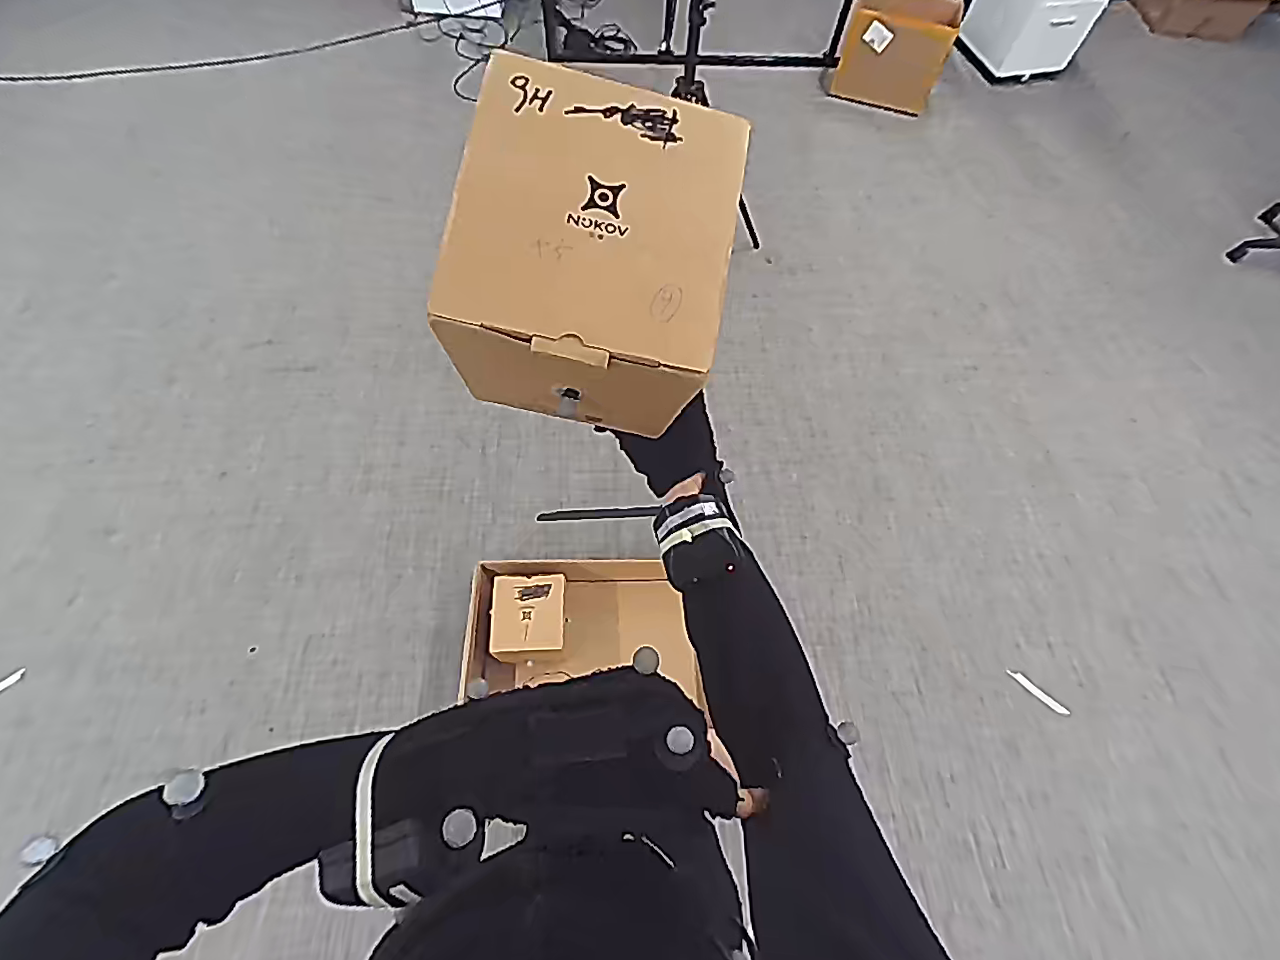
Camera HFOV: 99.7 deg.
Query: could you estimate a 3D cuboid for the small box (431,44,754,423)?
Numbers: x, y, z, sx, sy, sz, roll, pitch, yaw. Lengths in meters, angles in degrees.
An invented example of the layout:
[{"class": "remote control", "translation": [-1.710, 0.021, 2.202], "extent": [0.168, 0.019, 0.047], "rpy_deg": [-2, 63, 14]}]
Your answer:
[{"class": "small box", "translation": [-0.032, -0.152, 0.397], "extent": [0.168, 0.176, 0.179], "rpy_deg": [11, 82, -6]}]
